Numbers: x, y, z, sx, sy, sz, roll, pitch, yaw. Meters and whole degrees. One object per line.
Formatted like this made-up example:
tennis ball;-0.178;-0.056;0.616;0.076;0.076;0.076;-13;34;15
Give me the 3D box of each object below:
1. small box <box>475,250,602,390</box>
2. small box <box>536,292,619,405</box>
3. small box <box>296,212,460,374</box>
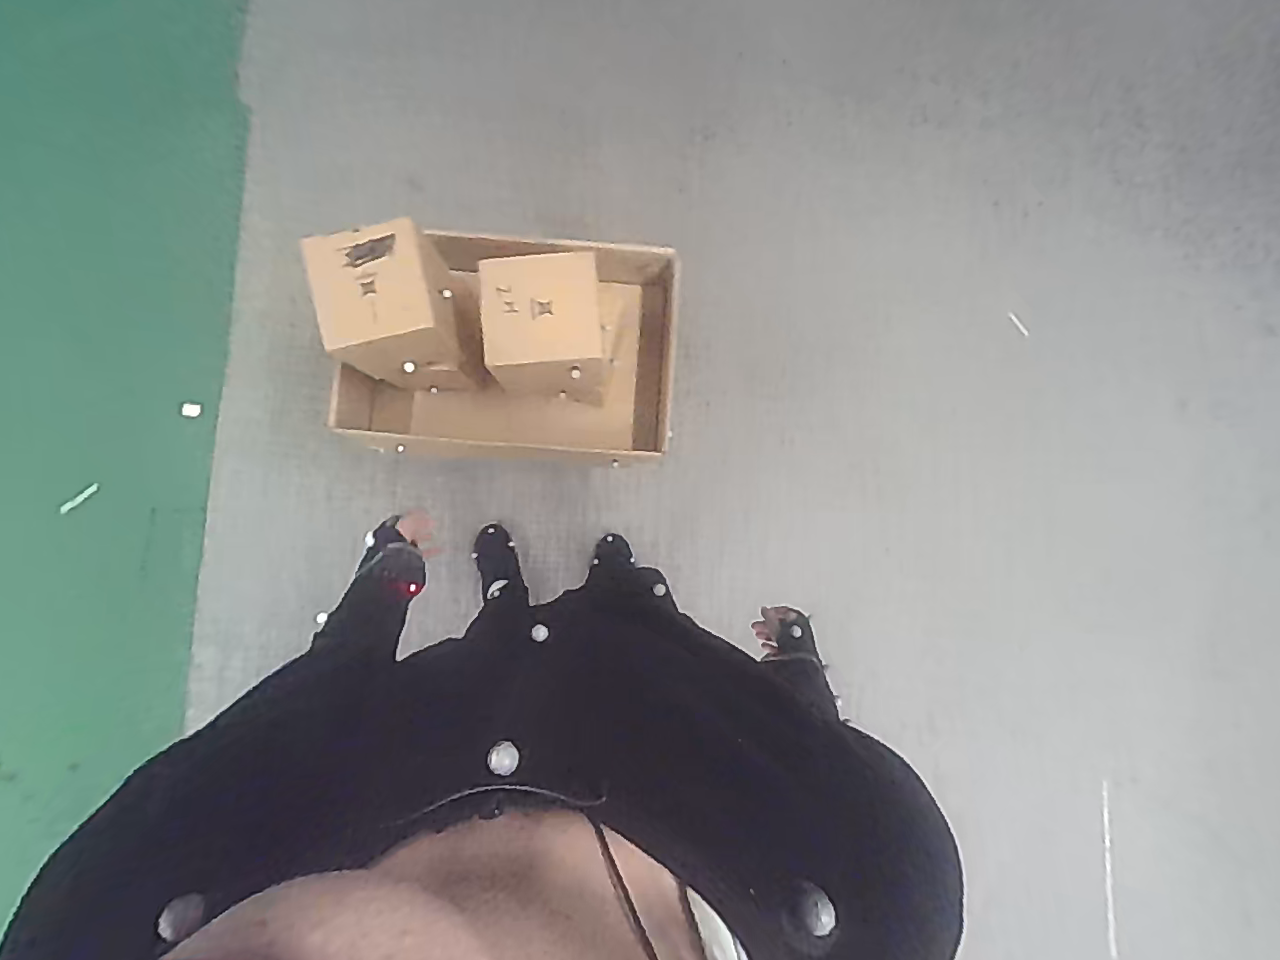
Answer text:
small box;-0.152;-0.247;0.867;0.179;0.176;0.168;-4;85;-2
small box;-0.136;-0.255;1.035;0.168;0.176;0.179;14;86;-1
small box;-0.404;-0.286;0.859;0.168;0.176;0.179;-13;87;-2
